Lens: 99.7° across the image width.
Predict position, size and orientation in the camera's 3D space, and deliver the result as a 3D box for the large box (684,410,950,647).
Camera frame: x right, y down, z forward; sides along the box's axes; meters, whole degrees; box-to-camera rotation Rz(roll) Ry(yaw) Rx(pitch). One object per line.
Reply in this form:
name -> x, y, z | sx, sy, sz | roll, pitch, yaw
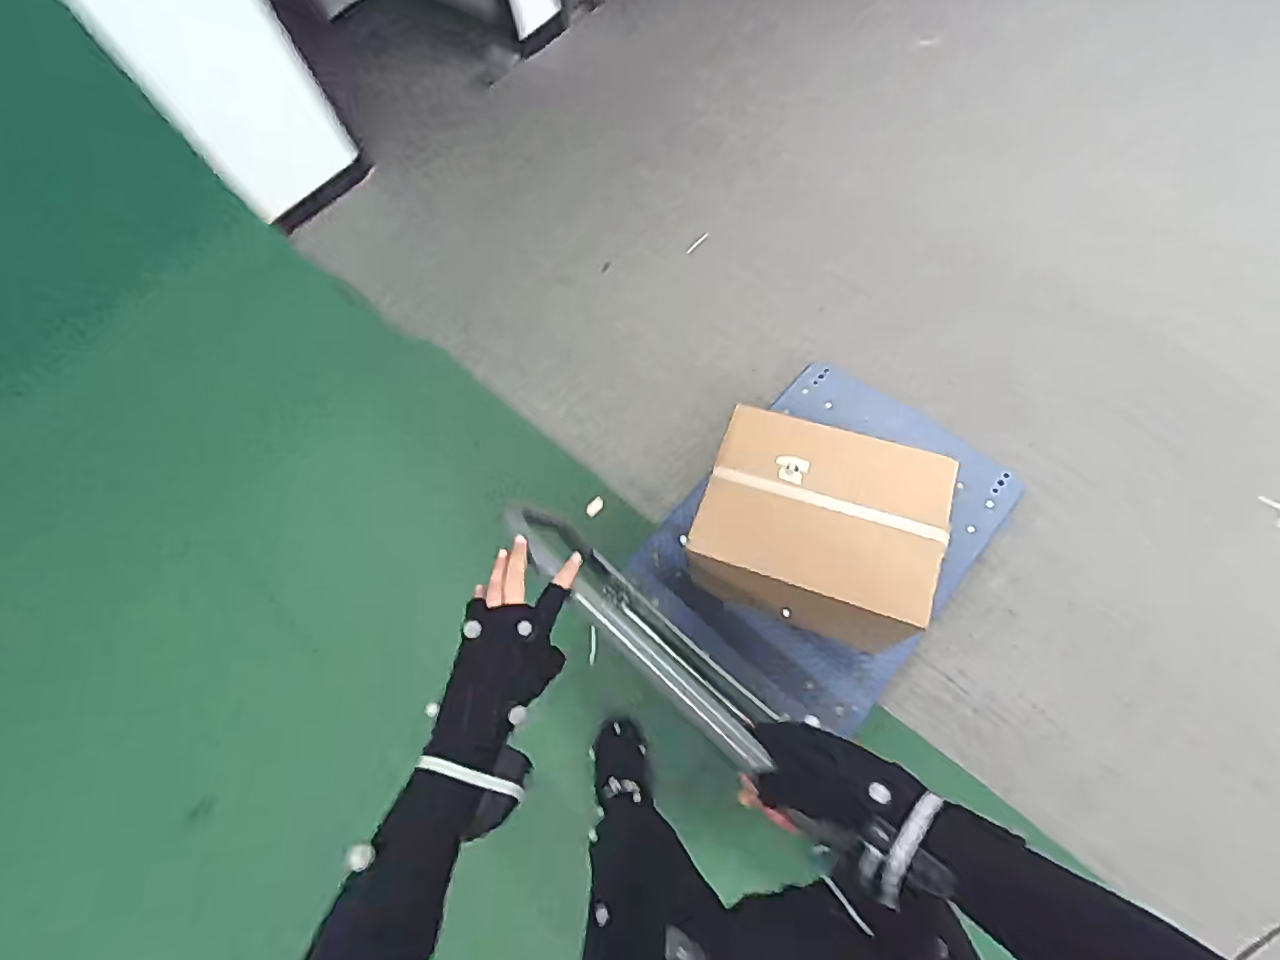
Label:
large box -> 0.336, 0.106, 1.085 | 0.408, 0.320, 0.320 | 17, 68, 16
